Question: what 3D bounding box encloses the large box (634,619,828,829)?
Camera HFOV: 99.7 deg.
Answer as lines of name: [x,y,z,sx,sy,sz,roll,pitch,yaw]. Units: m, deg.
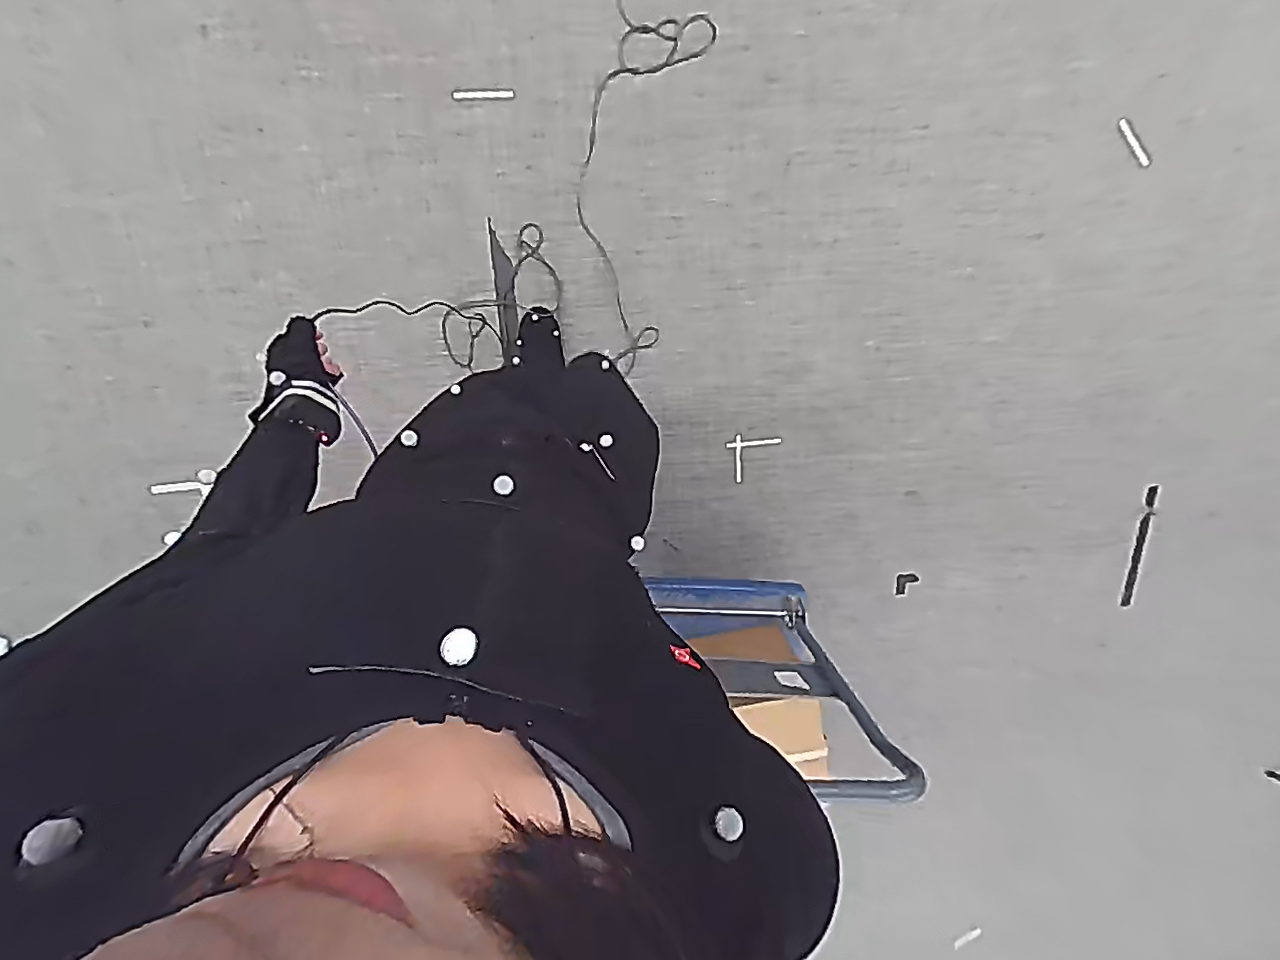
large box: [0.210,0.592,1.358,0.408,0.320,0.320,-11,104,1]
